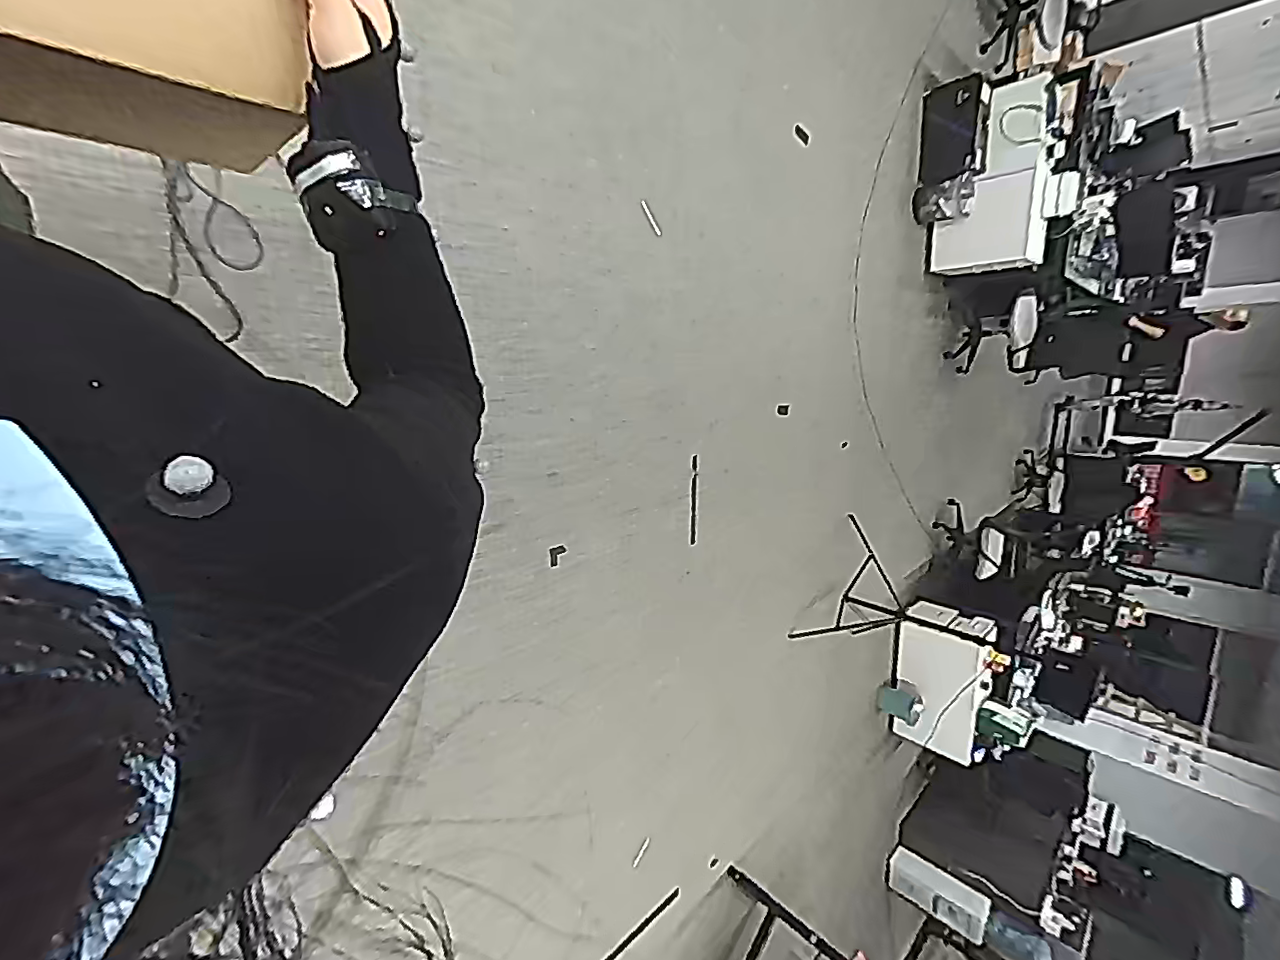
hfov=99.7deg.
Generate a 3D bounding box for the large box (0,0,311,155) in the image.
[{"bbox_3d":[-0.482,-0.445,0.346,0.408,0.320,0.320,-9,110,-40],"label":"large box"}]
